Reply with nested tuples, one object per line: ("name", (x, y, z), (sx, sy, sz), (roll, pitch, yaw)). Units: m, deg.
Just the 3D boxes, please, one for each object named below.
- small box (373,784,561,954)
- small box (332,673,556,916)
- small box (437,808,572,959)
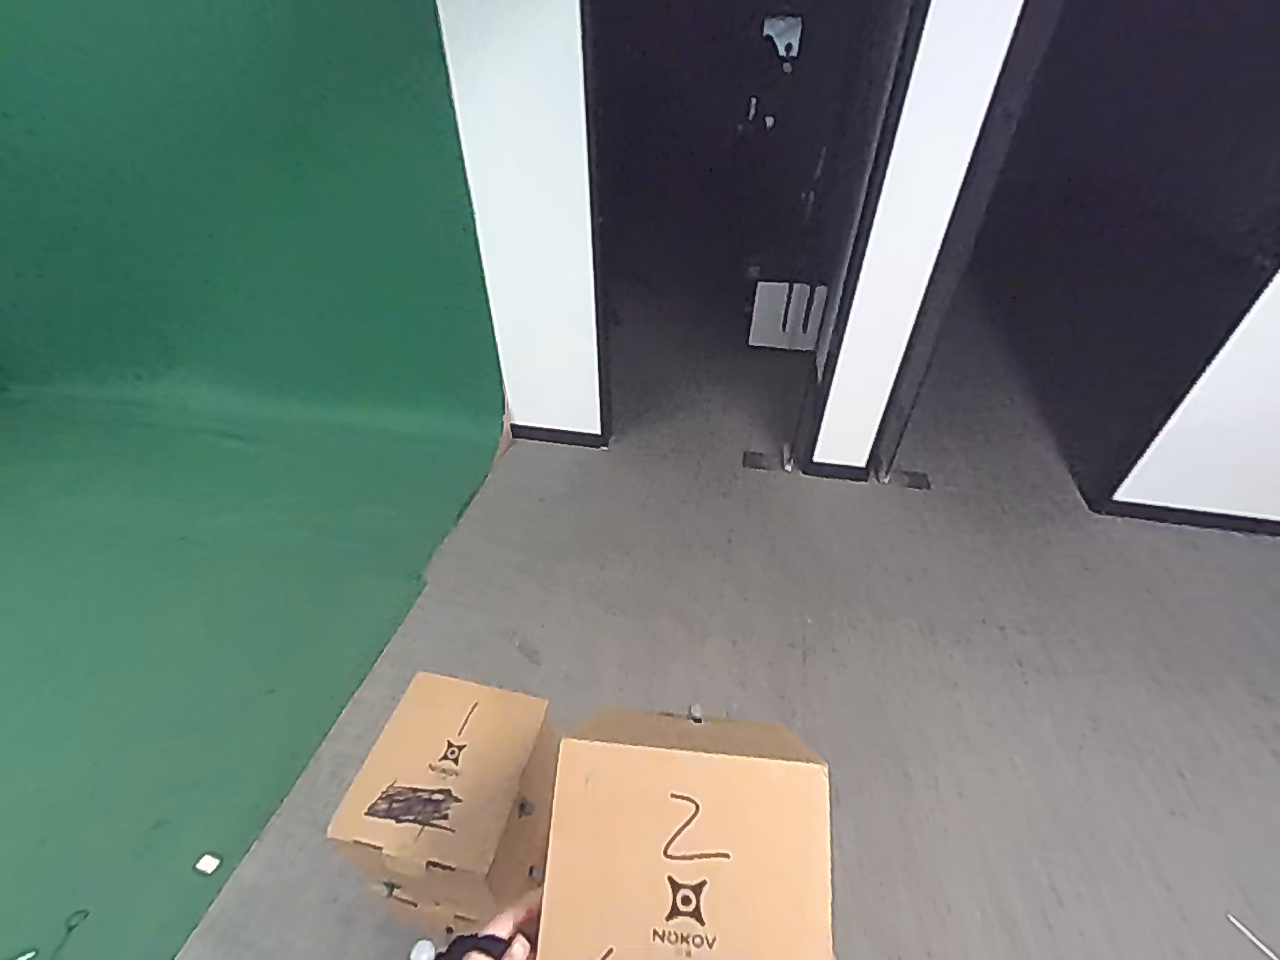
("small box", (-0.208, 0.486, 0.712), (0.168, 0.176, 0.179), (9, 41, 8))
("small box", (-0.198, 0.355, 0.613), (0.168, 0.176, 0.179), (9, 39, 7))
("small box", (-0.207, 0.606, 0.825), (0.168, 0.176, 0.179), (10, 40, 9))
